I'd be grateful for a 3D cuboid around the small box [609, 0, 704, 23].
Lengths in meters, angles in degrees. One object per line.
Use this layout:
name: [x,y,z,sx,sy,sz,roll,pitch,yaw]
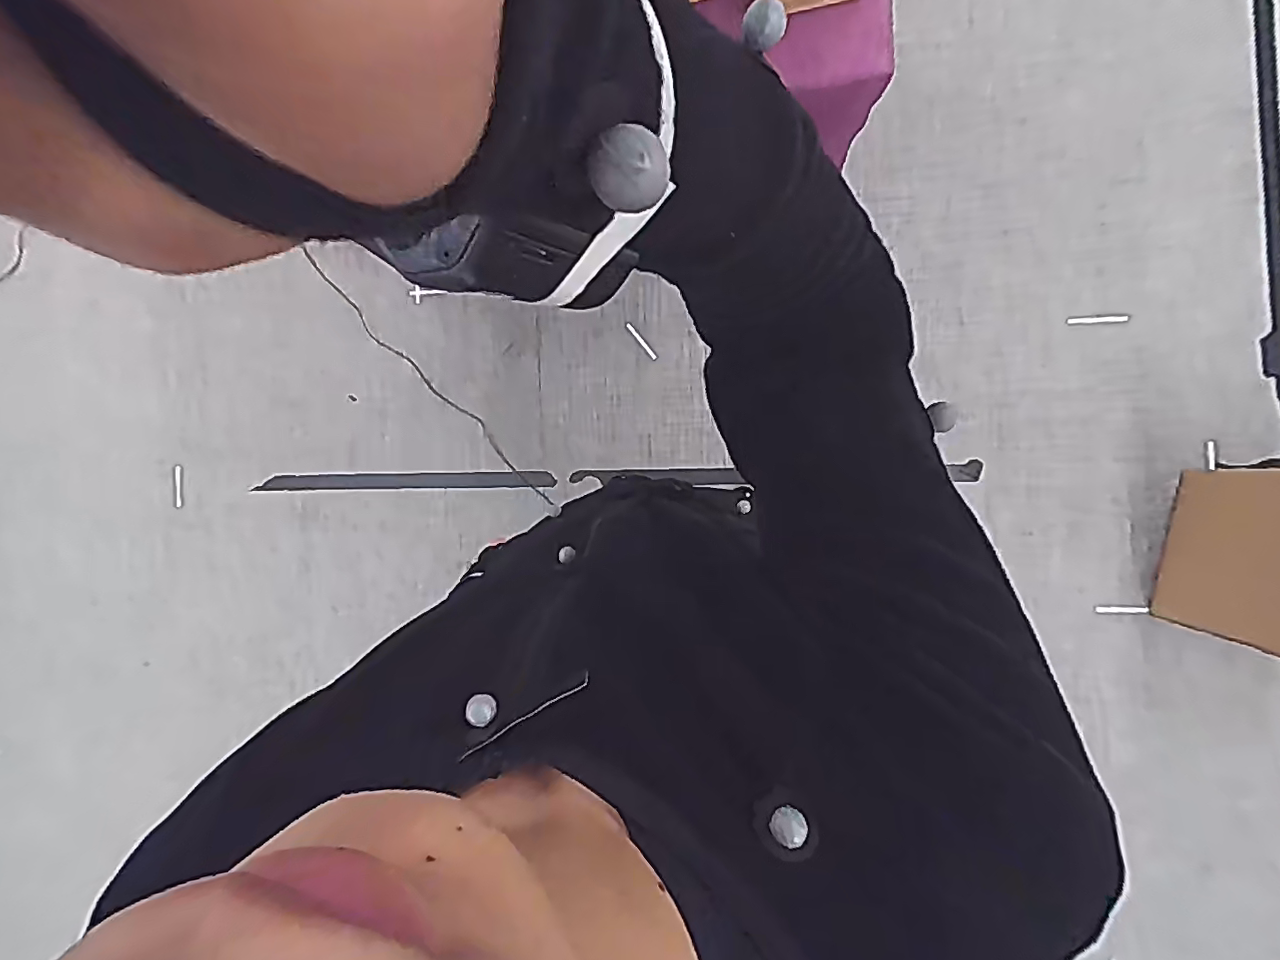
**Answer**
small box: [0.012,-0.860,0.833,0.168,0.176,0.179,-15,87,6]
